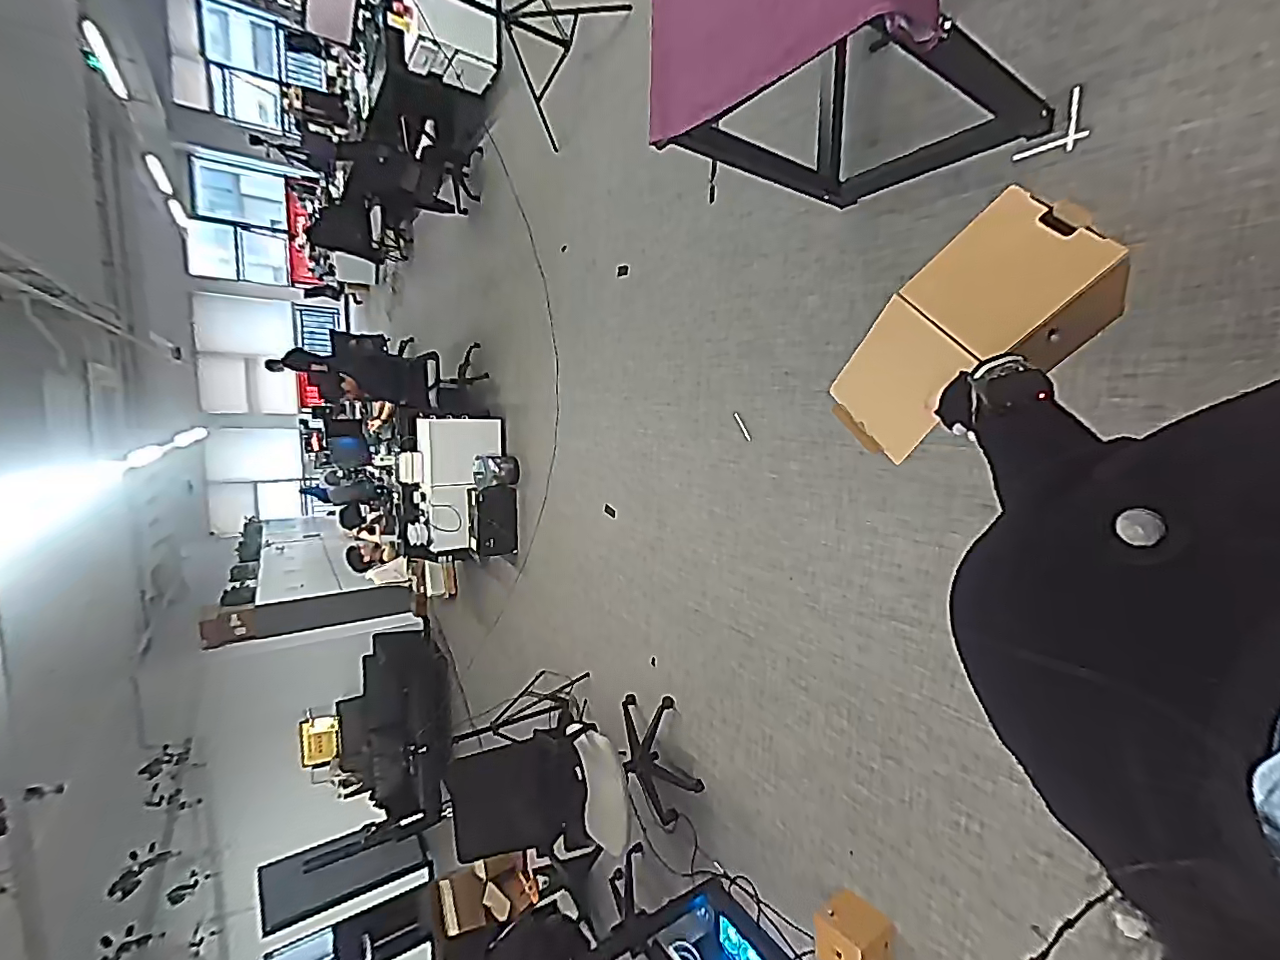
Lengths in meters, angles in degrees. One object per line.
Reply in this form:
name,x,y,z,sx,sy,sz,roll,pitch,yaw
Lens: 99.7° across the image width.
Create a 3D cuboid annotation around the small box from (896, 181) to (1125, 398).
small box,0.480,-0.235,0.708,0.179,0.176,0.168,-45,56,23
